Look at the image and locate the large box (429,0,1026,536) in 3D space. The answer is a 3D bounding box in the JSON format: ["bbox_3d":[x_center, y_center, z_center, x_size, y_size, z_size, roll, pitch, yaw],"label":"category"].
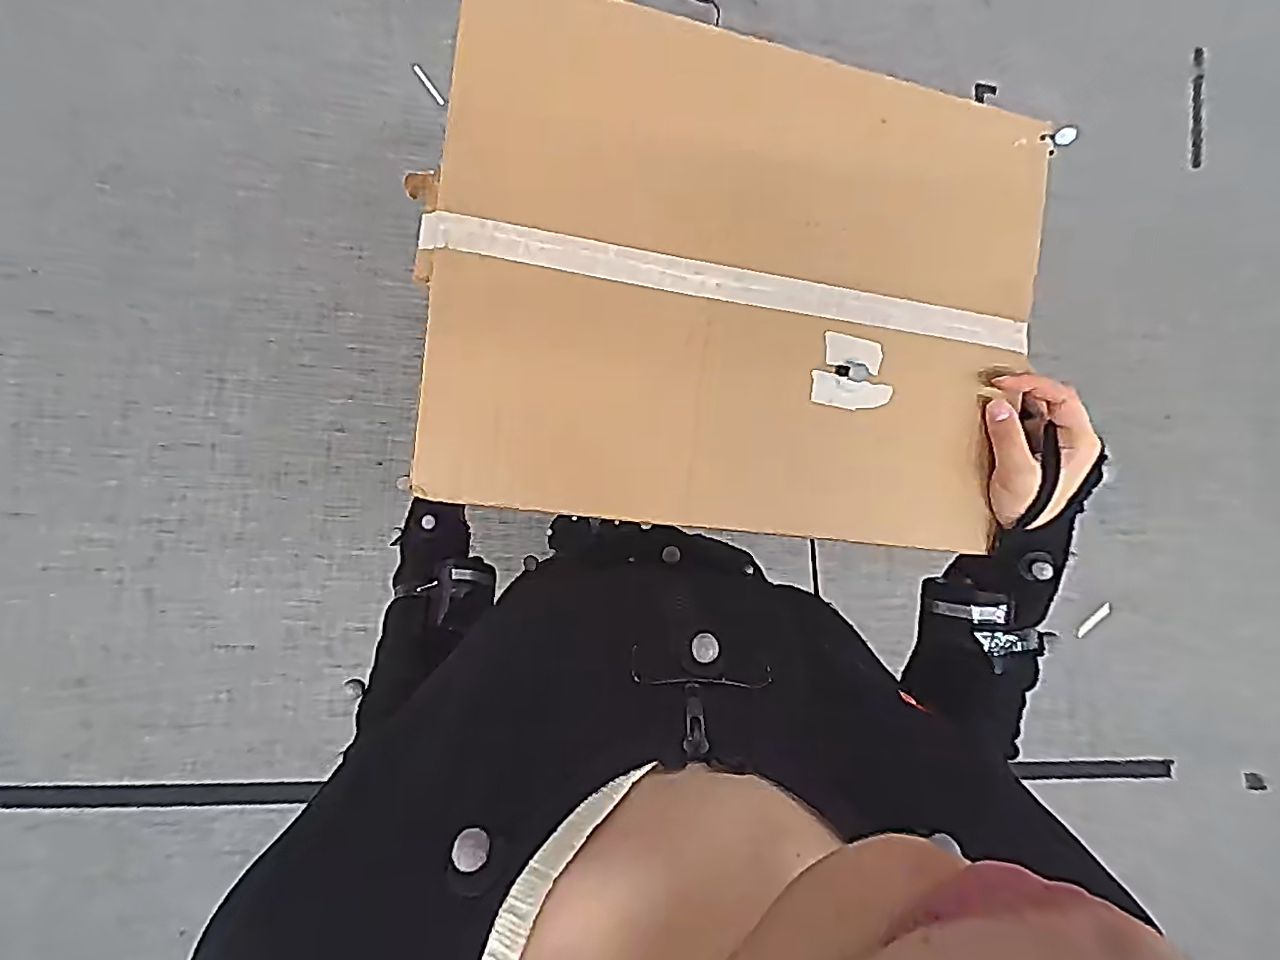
[{"bbox_3d":[0.047,-0.132,0.505,0.408,0.320,0.320,6,92,-13],"label":"large box"}]
